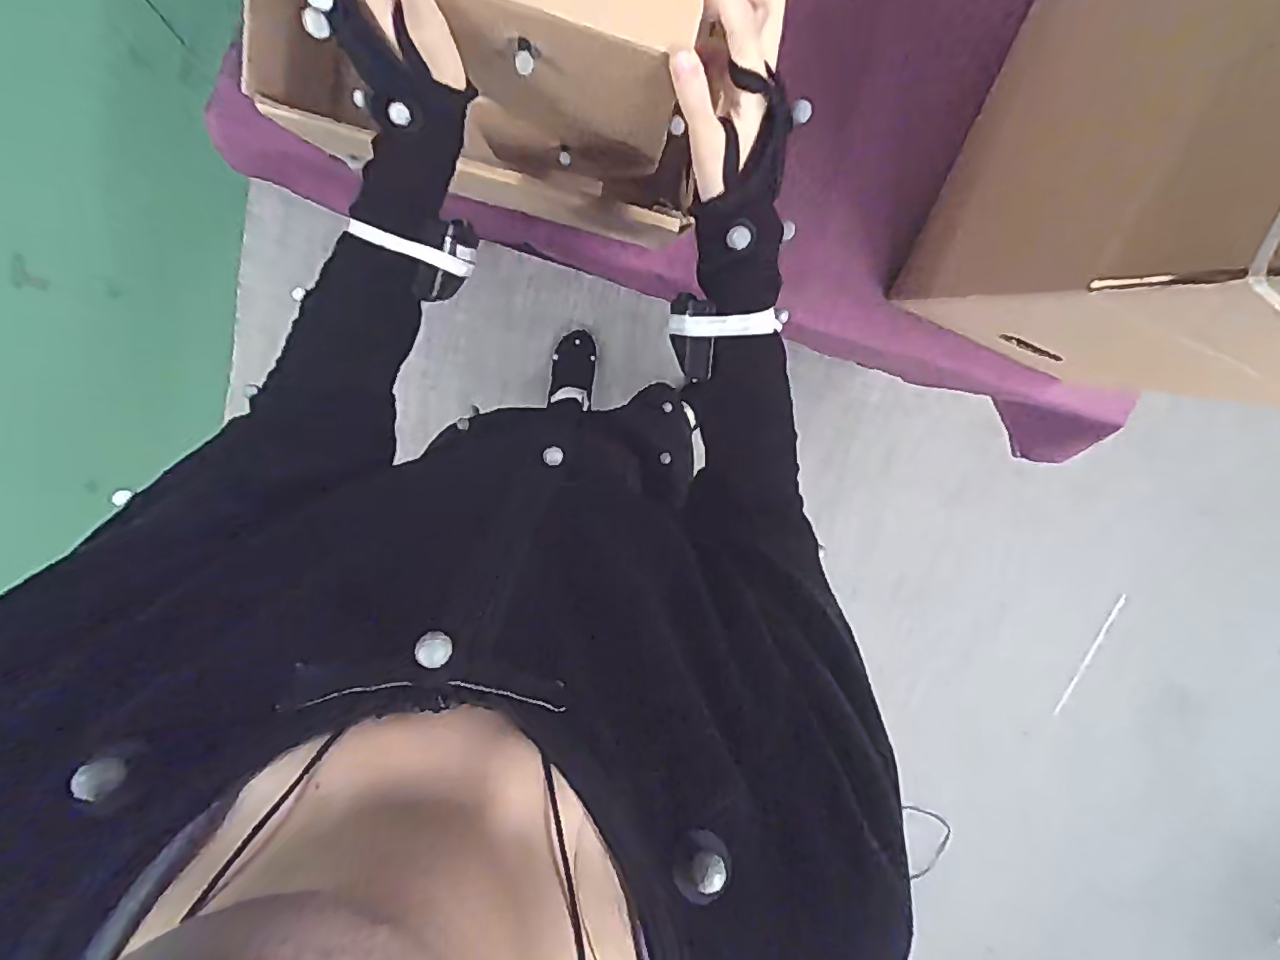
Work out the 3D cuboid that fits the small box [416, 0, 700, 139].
[{"bbox_3d":[-0.043,-0.350,0.347,0.179,0.176,0.168,13,106,-8],"label":"small box"}]
